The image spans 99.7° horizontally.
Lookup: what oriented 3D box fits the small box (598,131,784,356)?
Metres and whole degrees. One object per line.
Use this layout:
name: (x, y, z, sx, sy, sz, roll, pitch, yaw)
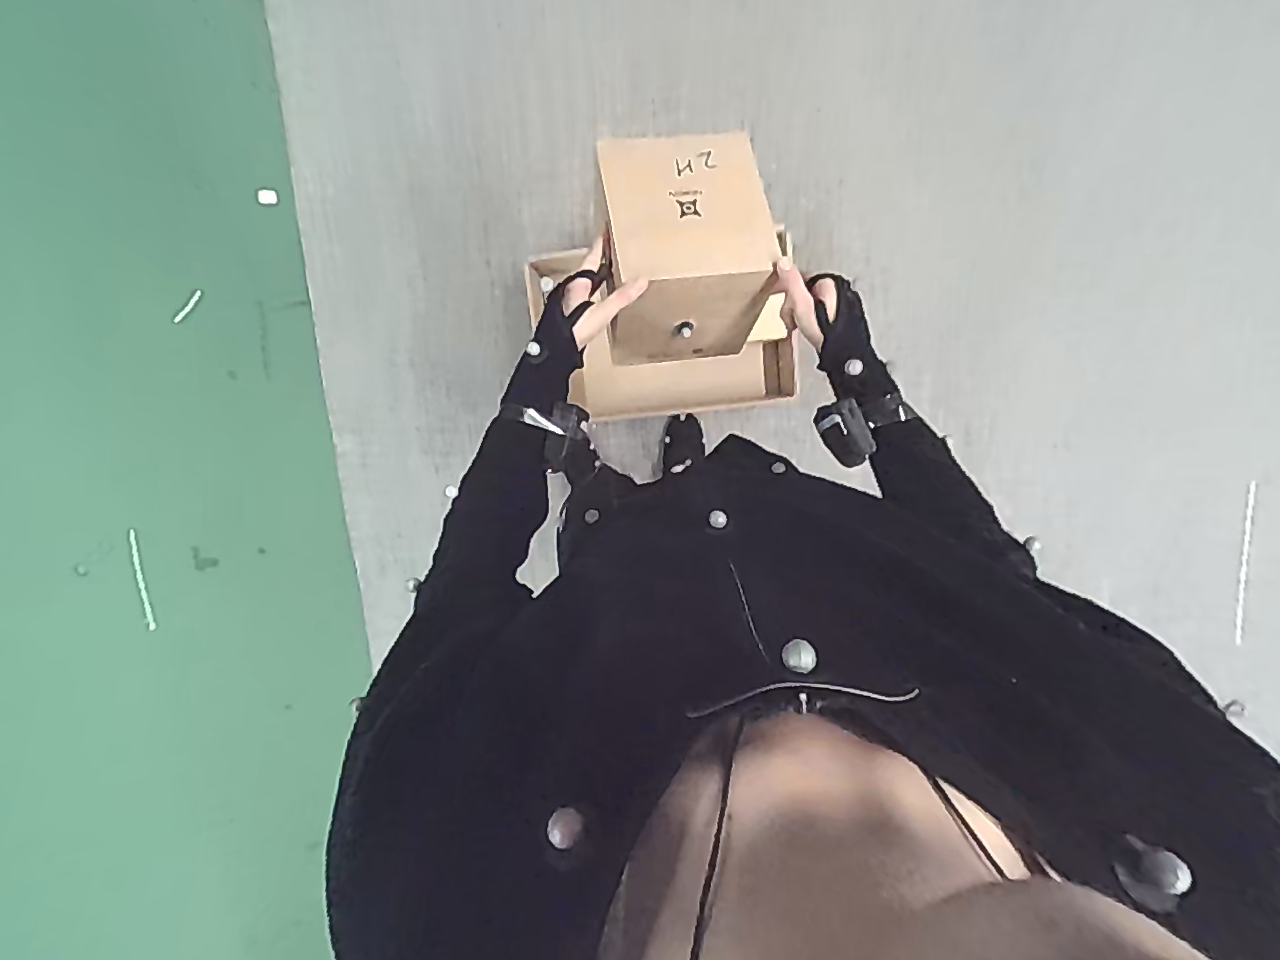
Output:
small box: (0.044, -0.254, 0.617, 0.168, 0.176, 0.179, -7, 74, -7)
